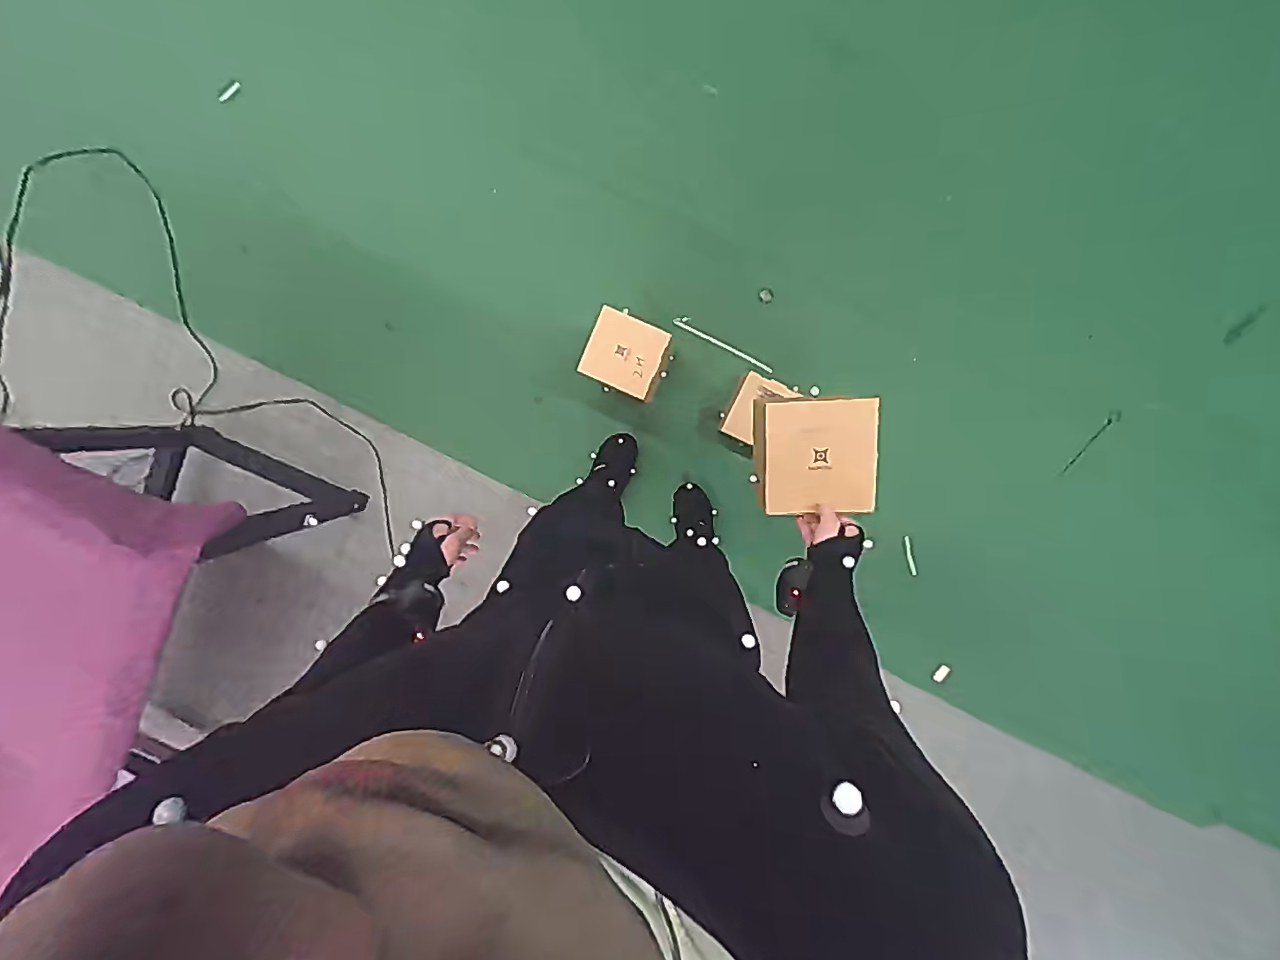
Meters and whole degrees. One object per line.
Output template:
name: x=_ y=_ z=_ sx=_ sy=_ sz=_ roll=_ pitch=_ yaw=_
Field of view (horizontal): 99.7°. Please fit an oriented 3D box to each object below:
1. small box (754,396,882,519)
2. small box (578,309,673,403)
small box: x=0.280 y=-0.043 z=0.882 sx=0.168 sy=0.176 sz=0.179 roll=-2 pitch=100 yaw=5
small box: x=-0.030 y=-0.295 z=1.328 sx=0.179 sy=0.176 sz=0.168 roll=25 pitch=97 yaw=1
